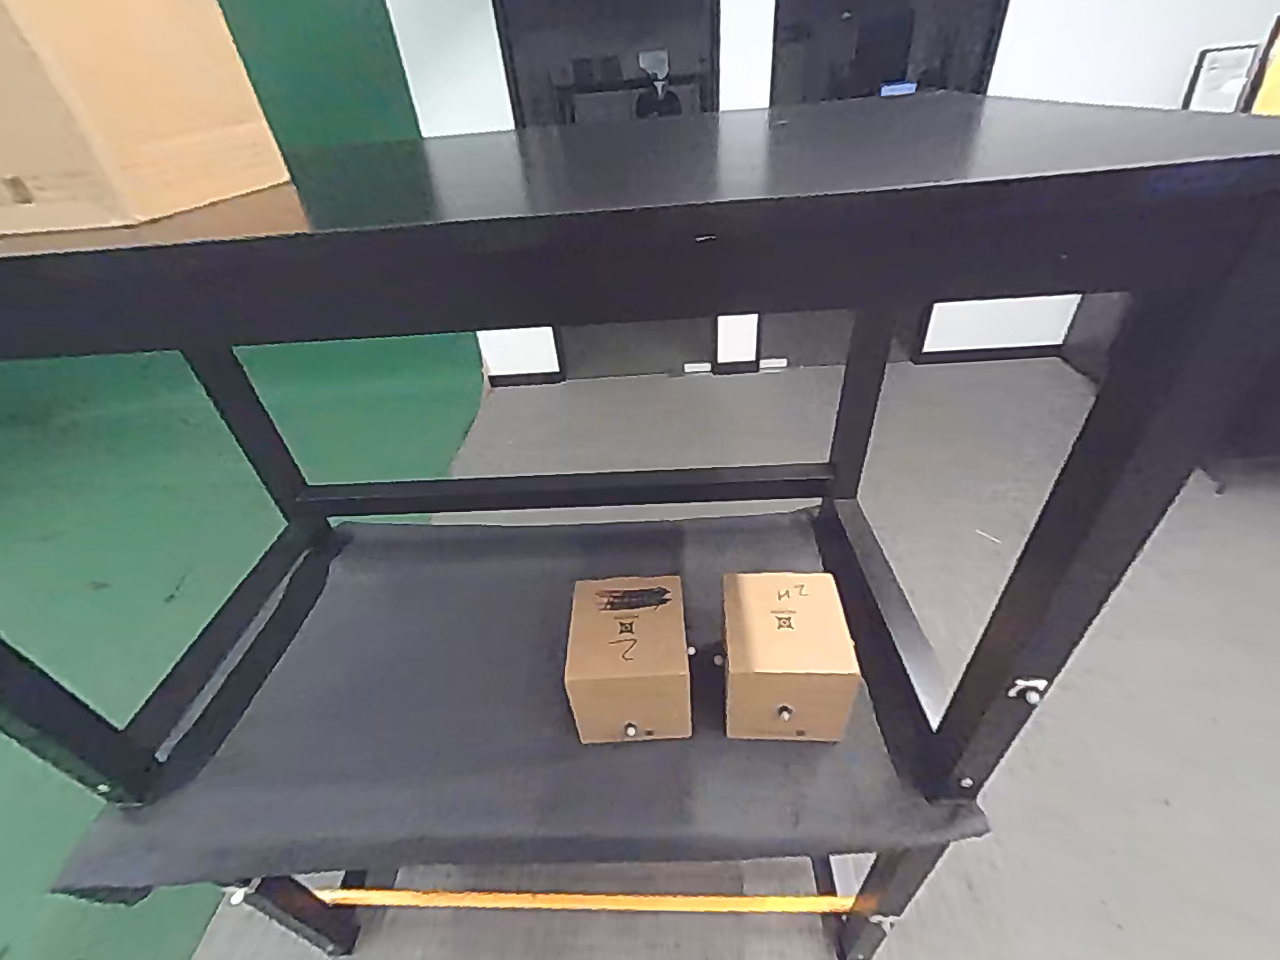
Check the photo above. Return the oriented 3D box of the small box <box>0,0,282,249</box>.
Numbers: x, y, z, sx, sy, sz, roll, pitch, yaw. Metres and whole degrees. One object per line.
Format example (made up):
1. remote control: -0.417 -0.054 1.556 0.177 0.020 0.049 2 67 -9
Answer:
1. small box: -0.394 -0.263 0.369 0.168 0.176 0.179 -2 36 5
